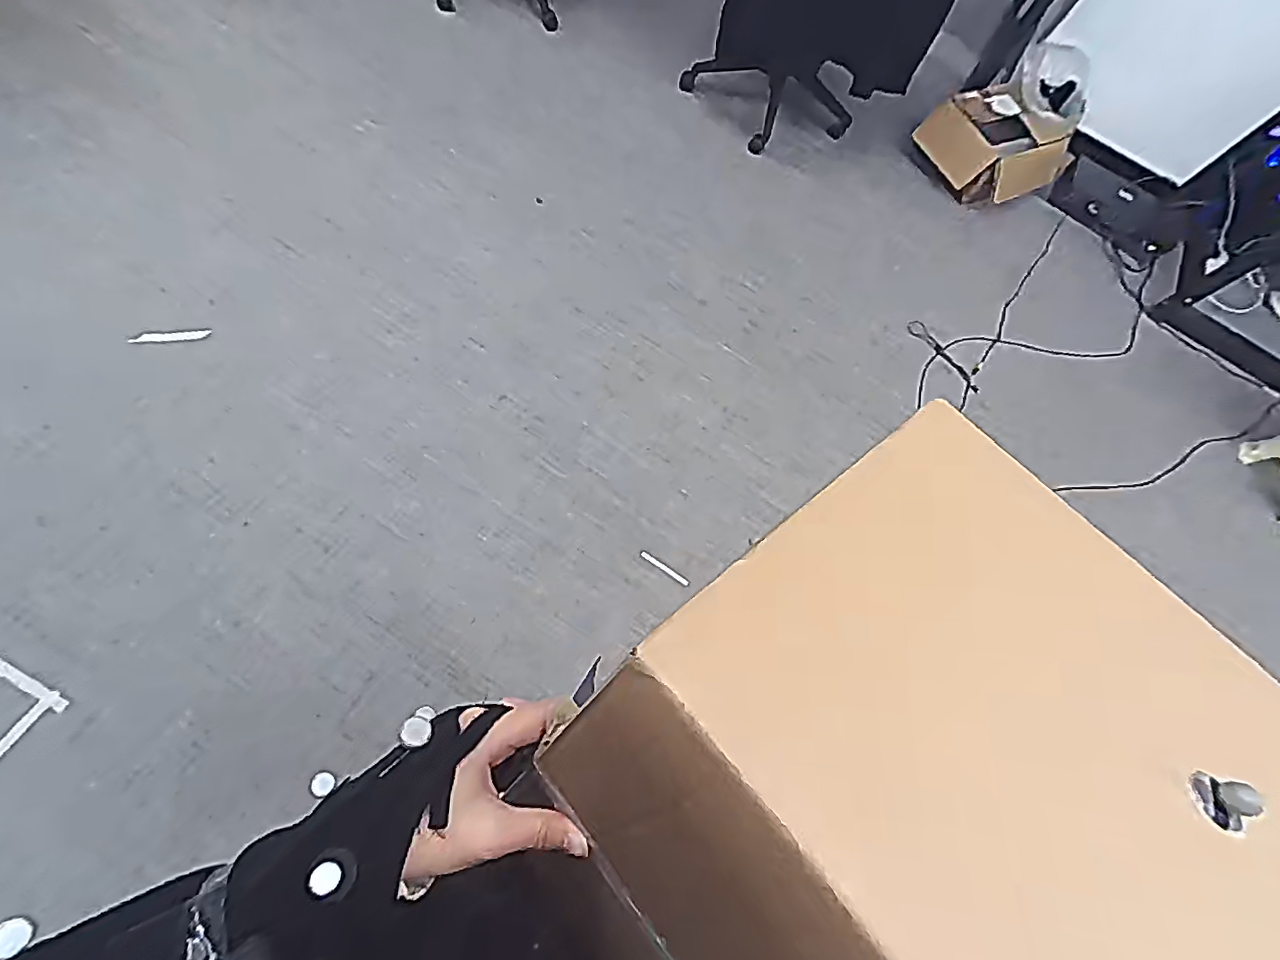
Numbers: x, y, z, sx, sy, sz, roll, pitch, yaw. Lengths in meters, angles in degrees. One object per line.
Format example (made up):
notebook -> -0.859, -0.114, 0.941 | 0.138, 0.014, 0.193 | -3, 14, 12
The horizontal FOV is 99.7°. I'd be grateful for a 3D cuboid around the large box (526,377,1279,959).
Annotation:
large box -> 0.197, 0.207, 0.323 | 0.320, 0.320, 0.408 | -30, 69, -39
